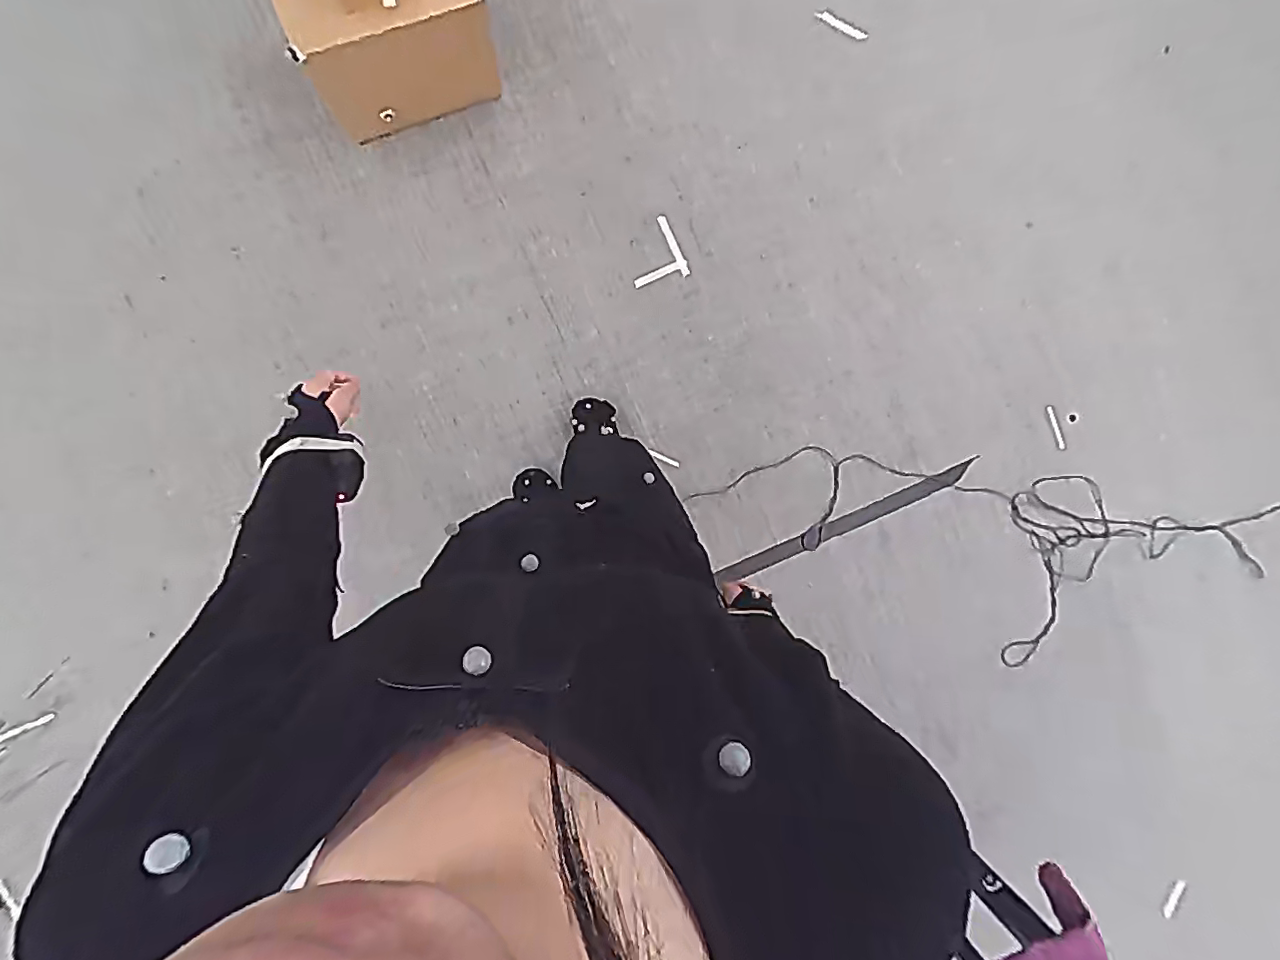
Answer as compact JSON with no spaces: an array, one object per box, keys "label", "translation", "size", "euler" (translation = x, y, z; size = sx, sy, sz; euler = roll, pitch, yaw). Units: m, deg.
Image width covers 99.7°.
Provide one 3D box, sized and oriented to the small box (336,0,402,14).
[{"label":"small box","translation":[-0.539,-1.038,1.017],"size":[0.179,0.176,0.168],"euler":[-24,96,-6]}]
